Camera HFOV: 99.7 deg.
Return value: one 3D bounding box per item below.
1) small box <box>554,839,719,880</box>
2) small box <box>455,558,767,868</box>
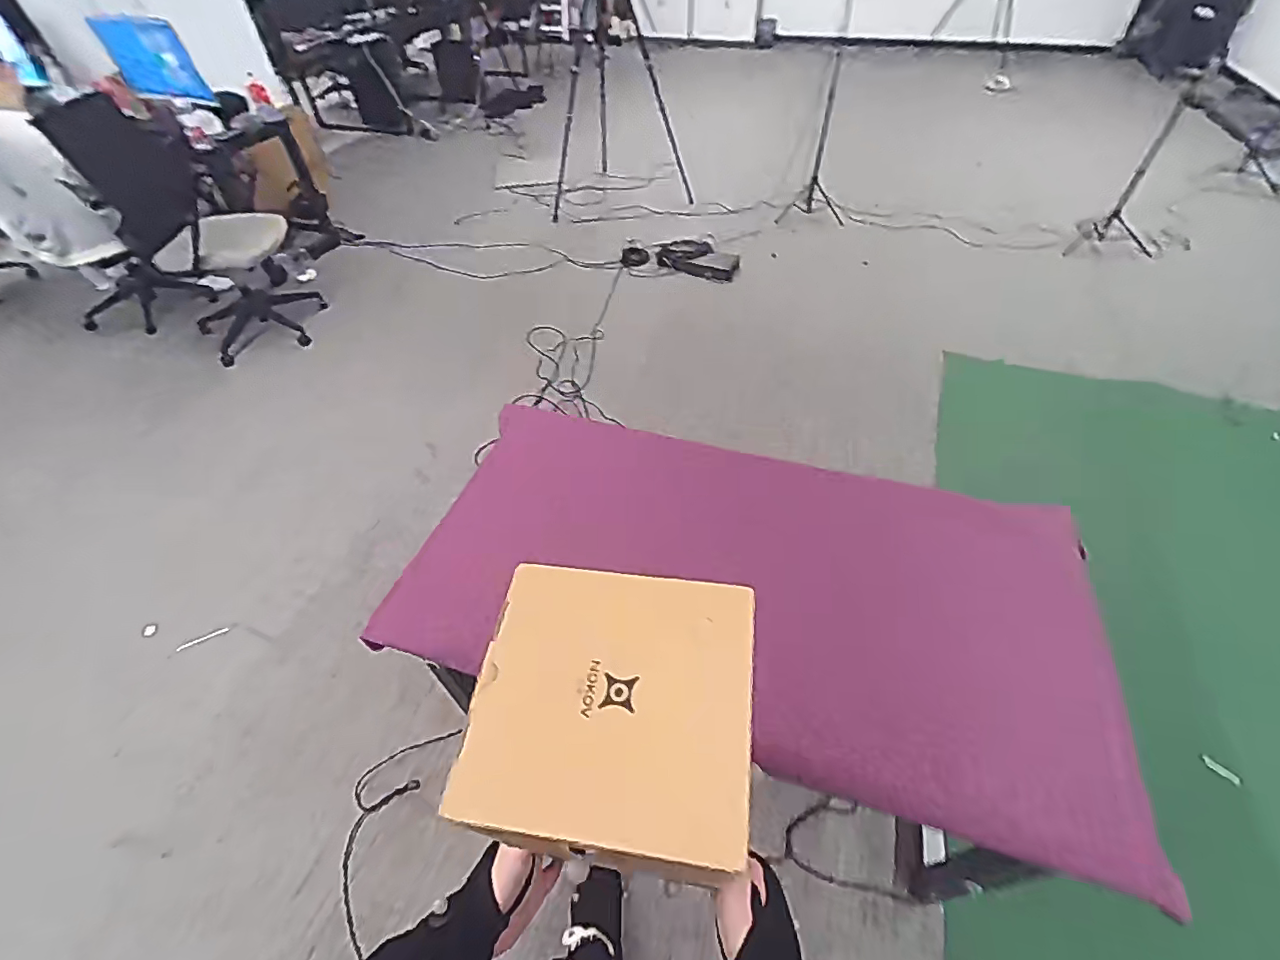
[{"bbox_3d":[0.012,0.376,0.666,0.179,0.176,0.168,6,52,9],"label":"small box"},{"bbox_3d":[-0.005,0.178,0.407,0.179,0.176,0.168,4,53,8],"label":"small box"}]
